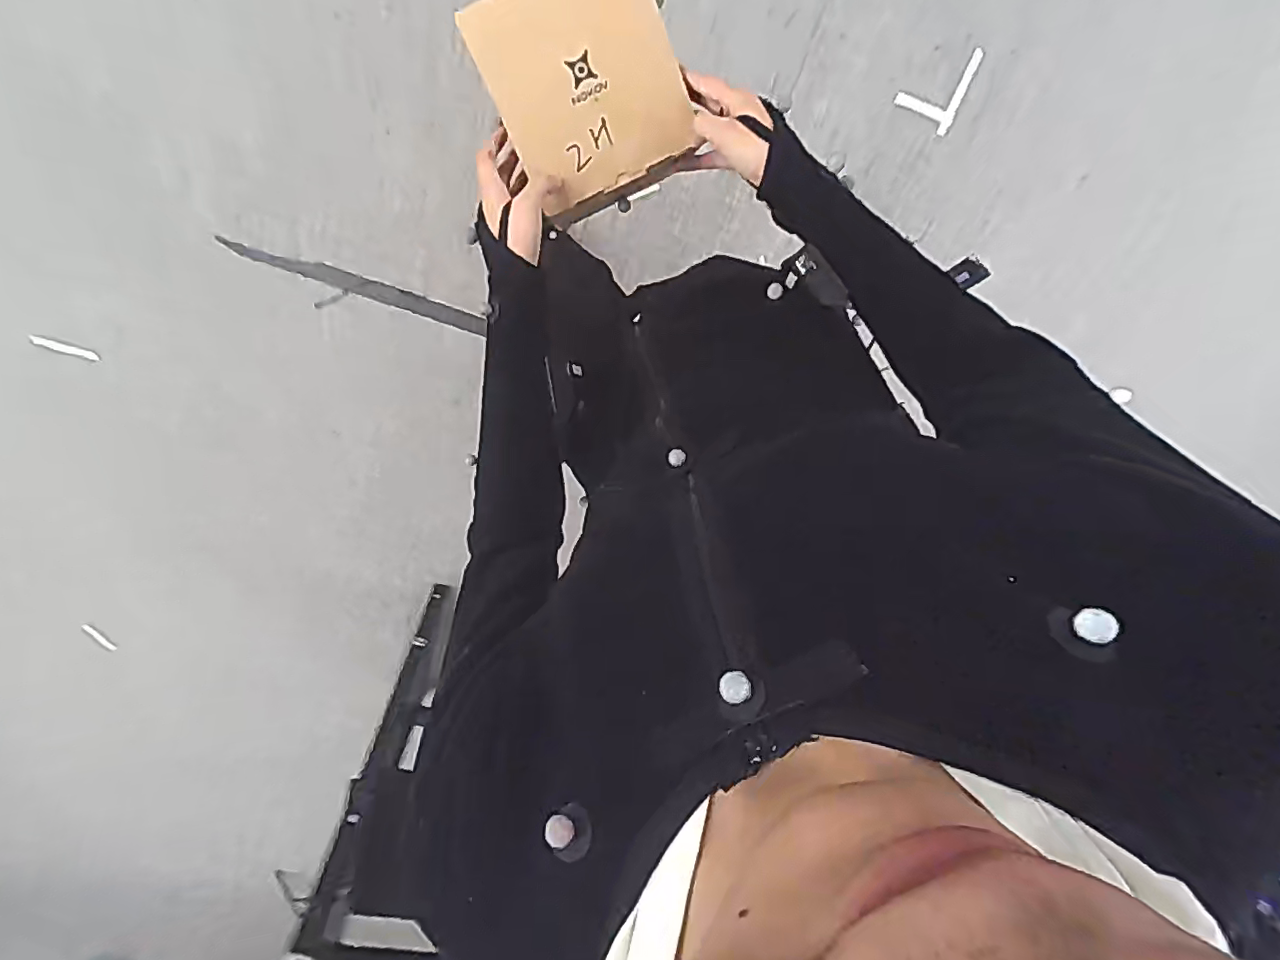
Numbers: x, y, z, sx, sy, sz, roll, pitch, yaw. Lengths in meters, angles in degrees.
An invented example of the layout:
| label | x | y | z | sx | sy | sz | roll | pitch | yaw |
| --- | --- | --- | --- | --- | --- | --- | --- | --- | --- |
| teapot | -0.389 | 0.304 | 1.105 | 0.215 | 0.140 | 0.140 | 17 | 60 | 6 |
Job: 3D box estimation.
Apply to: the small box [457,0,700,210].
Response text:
| label | x | y | z | sx | sy | sz | roll | pitch | yaw |
| --- | --- | --- | --- | --- | --- | --- | --- | --- | --- |
| small box | -0.058 | -0.397 | 0.541 | 0.168 | 0.176 | 0.179 | -23 | 112 | 5 |
